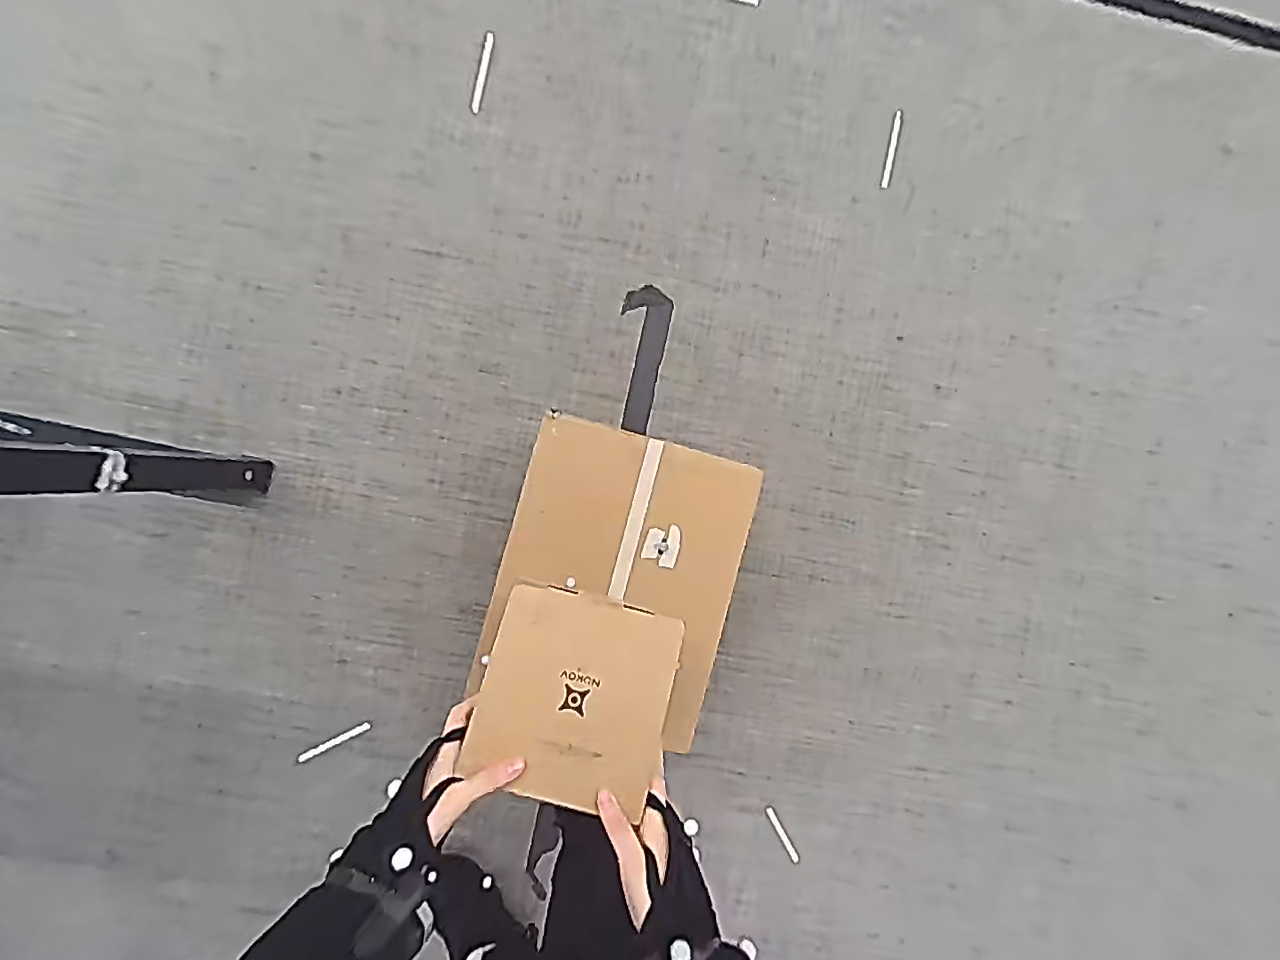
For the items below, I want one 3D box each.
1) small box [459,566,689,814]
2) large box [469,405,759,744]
[{"bbox_3d":[-0.061,0.201,0.555,0.168,0.176,0.179,16,75,0],"label":"small box"},{"bbox_3d":[-0.041,0.132,0.873,0.320,0.320,0.408,16,88,-4],"label":"large box"}]
